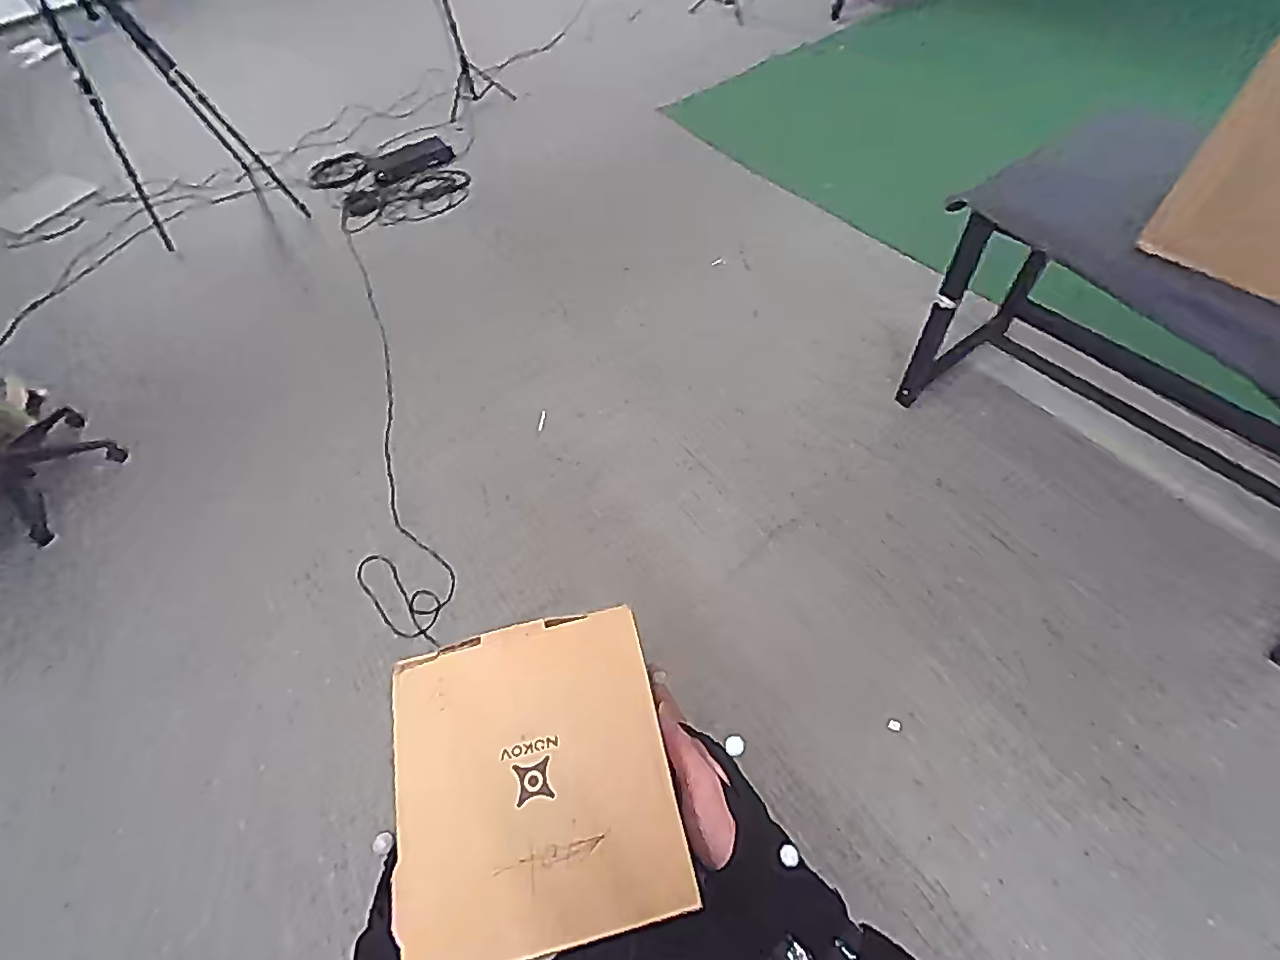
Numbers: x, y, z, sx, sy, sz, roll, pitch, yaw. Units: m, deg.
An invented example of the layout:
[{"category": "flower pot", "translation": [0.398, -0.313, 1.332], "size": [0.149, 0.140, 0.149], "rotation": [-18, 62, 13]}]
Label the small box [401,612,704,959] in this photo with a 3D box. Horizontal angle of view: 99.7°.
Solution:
[{"category": "small box", "translation": [-0.060, 0.218, 0.399], "size": [0.168, 0.176, 0.179], "rotation": [-13, 64, -4]}]
